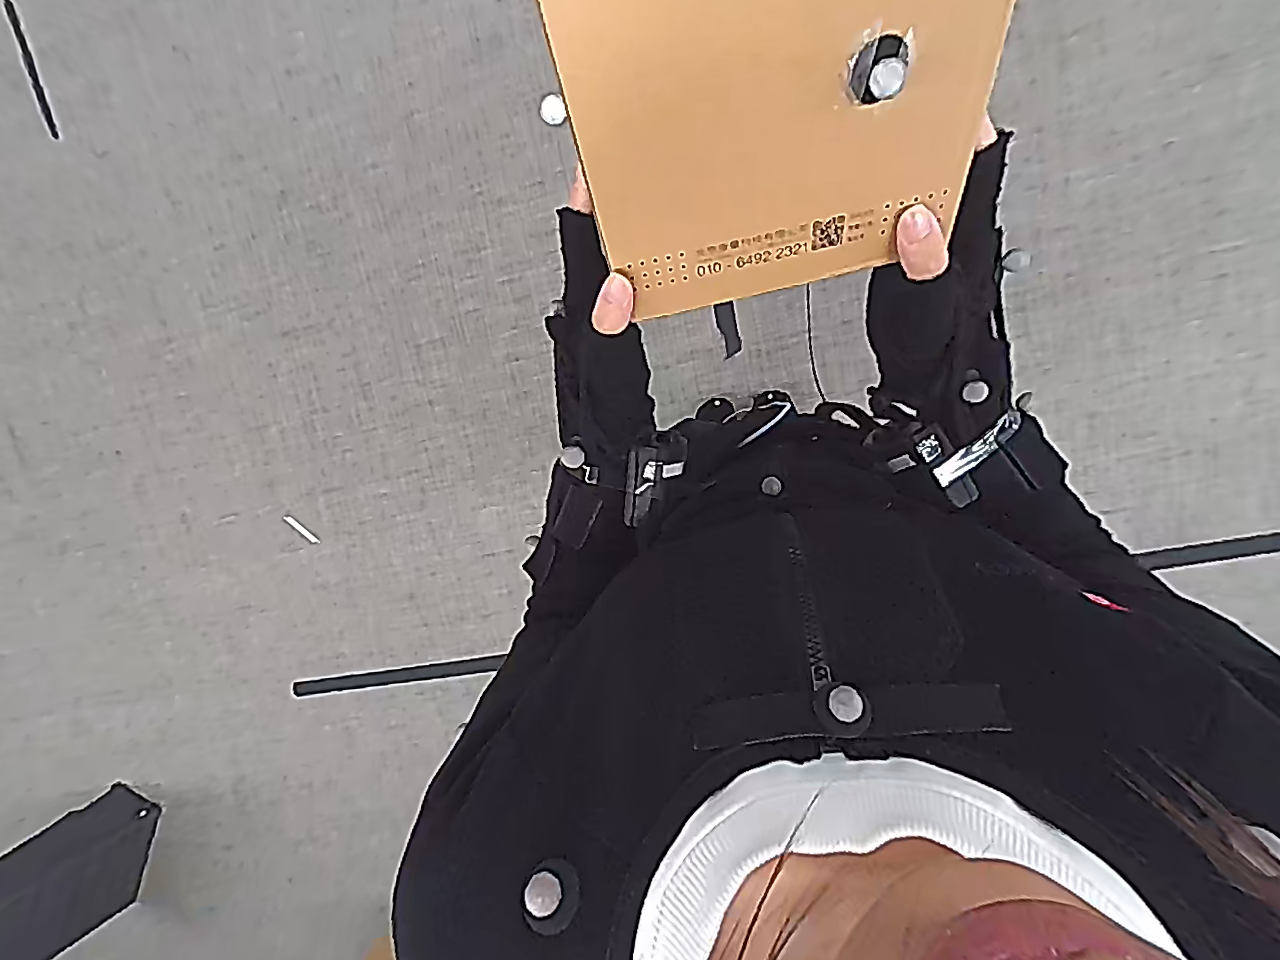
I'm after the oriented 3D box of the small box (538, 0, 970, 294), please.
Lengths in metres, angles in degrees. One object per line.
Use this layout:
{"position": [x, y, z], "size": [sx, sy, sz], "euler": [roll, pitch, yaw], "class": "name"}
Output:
{"position": [0.051, -0.218, 0.281], "size": [0.168, 0.176, 0.179], "euler": [-10, 53, 7], "class": "small box"}
